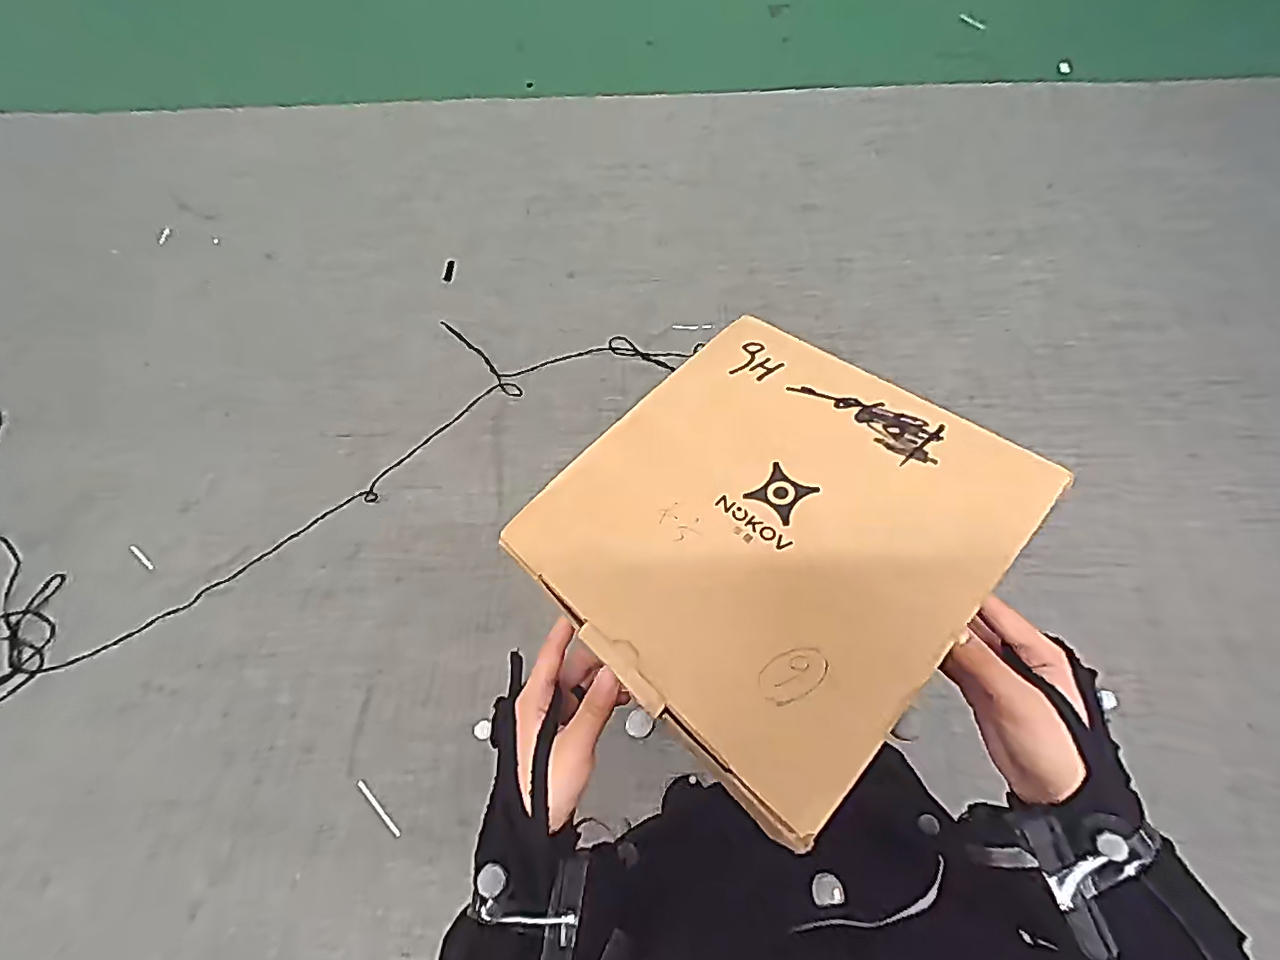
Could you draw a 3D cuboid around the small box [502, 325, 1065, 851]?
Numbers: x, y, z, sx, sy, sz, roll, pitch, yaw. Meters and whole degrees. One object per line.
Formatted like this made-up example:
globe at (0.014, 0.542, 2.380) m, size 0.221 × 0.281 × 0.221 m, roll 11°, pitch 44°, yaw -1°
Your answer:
small box at (0.067, 0.059, 0.291) m, size 0.179 × 0.176 × 0.168 m, roll -44°, pitch 59°, yaw -16°
